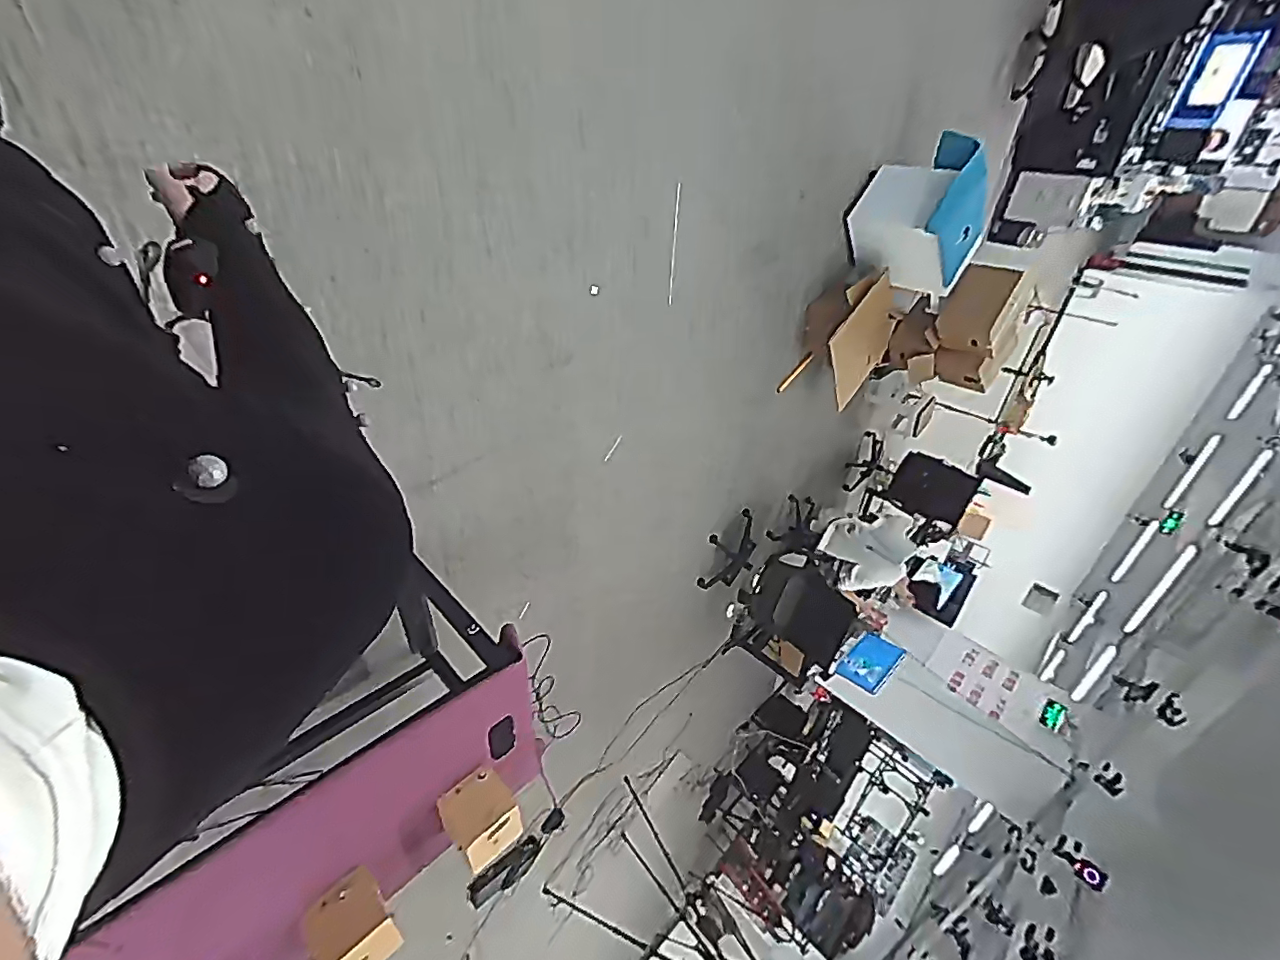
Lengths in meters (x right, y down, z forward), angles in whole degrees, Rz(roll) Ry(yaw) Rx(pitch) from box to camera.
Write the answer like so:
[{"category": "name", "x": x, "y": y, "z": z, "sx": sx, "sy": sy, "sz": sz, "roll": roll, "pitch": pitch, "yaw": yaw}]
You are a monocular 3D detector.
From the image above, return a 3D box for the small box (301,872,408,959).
[{"category": "small box", "x": -0.707, "y": 1.129, "z": 1.341, "sx": 0.168, "sy": 0.176, "sz": 0.179, "roll": -28, "pitch": 134, "yaw": -37}]

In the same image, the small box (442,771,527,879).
[{"category": "small box", "x": -0.445, "y": 0.974, "z": 1.545, "sx": 0.168, "sy": 0.176, "sz": 0.179, "roll": -27, "pitch": 134, "yaw": -36}]
